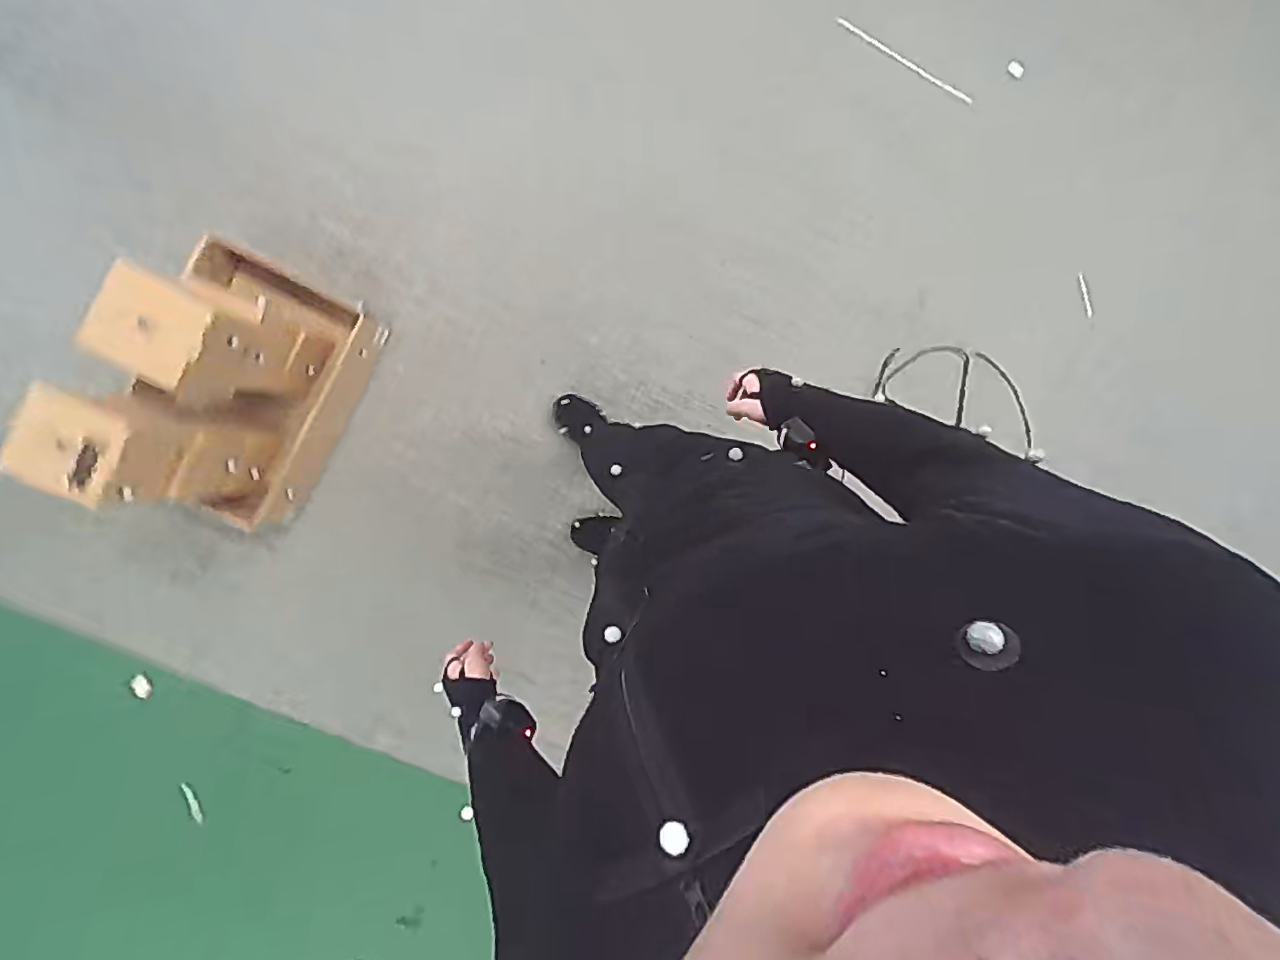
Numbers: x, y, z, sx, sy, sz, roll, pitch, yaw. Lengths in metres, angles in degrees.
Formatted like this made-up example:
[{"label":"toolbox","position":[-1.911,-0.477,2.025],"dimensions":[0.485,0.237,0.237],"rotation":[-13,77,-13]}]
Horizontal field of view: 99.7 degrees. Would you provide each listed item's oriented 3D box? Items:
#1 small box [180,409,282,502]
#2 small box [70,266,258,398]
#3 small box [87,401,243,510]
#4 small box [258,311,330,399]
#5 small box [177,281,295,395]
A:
[{"label":"small box","position":[-1.045,-0.064,1.349],"dimensions":[0.179,0.176,0.168],"rotation":[26,90,-8]},{"label":"small box","position":[-0.880,-0.266,1.021],"dimensions":[0.179,0.176,0.168],"rotation":[29,90,-8]},{"label":"small box","position":[-1.022,-0.052,1.184],"dimensions":[0.168,0.176,0.179],"rotation":[26,89,-6]},{"label":"small box","position":[-0.916,-0.311,1.345],"dimensions":[0.179,0.176,0.168],"rotation":[28,91,-7]},{"label":"small box","position":[-0.897,-0.297,1.181],"dimensions":[0.168,0.176,0.179],"rotation":[24,91,-8]}]
